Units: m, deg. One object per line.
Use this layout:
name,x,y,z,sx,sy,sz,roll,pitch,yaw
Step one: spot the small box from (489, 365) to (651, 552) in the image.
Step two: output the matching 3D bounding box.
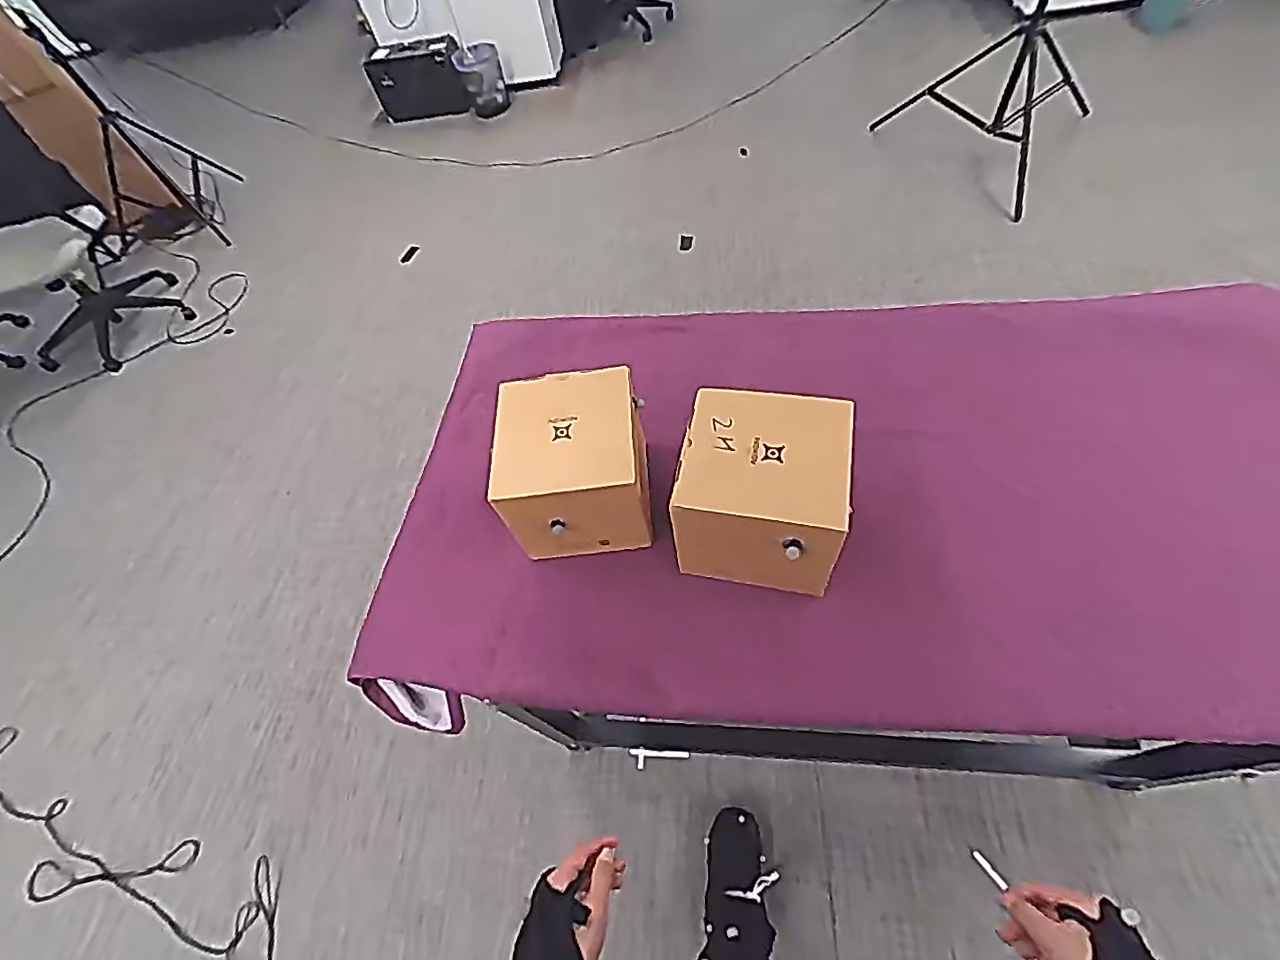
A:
small box,-0.080,-0.017,0.699,0.168,0.176,0.179,-8,56,5

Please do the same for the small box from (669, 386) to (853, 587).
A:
small box,0.143,0.013,0.640,0.179,0.176,0.168,7,57,14
